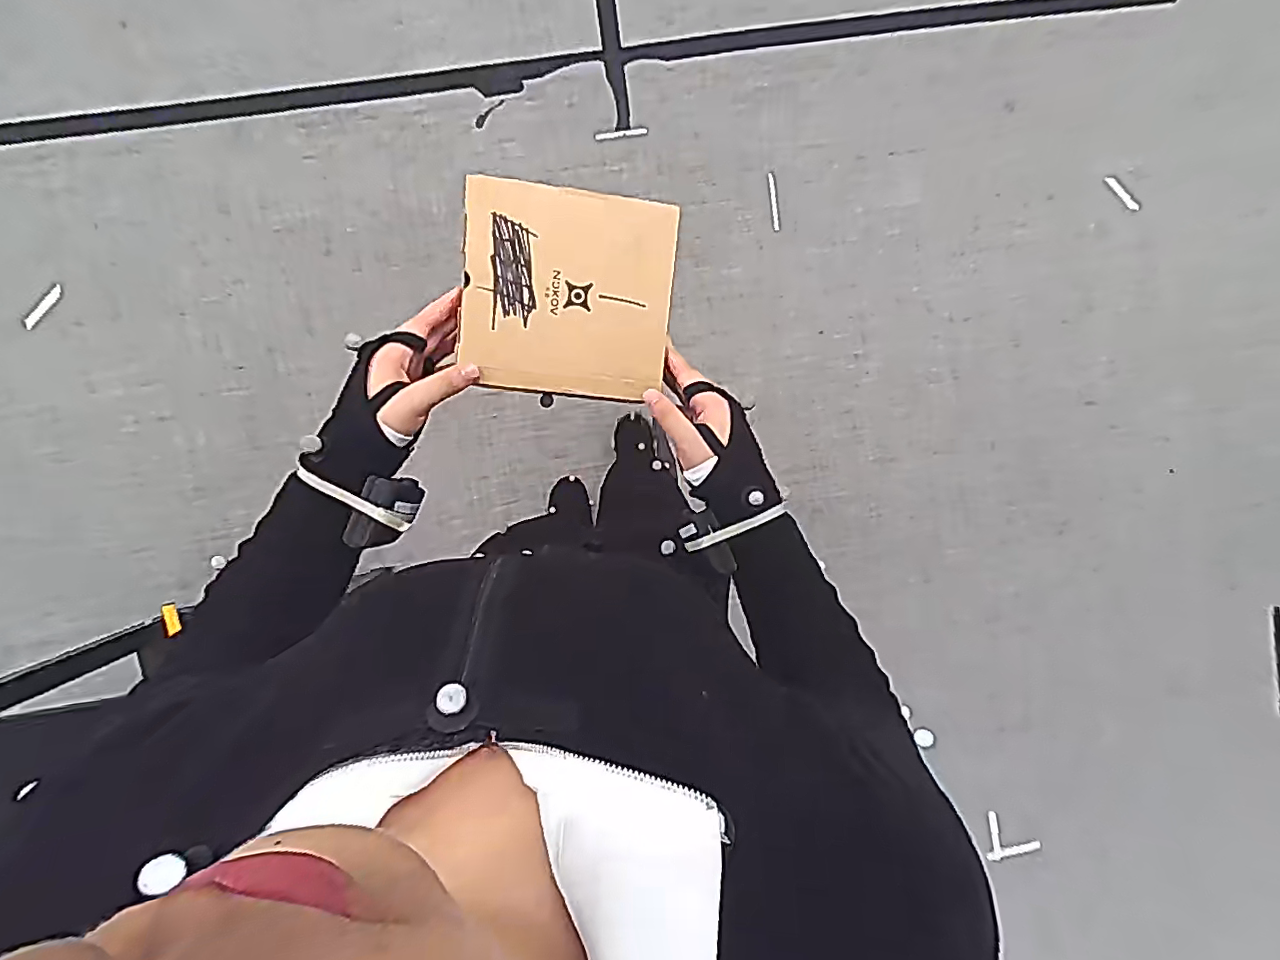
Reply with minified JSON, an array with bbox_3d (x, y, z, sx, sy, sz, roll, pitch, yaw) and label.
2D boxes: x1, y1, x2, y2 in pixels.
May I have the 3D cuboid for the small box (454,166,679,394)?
[{"bbox_3d":[-0.069,-0.175,0.528,0.179,0.176,0.168,5,98,-7],"label":"small box"}]
